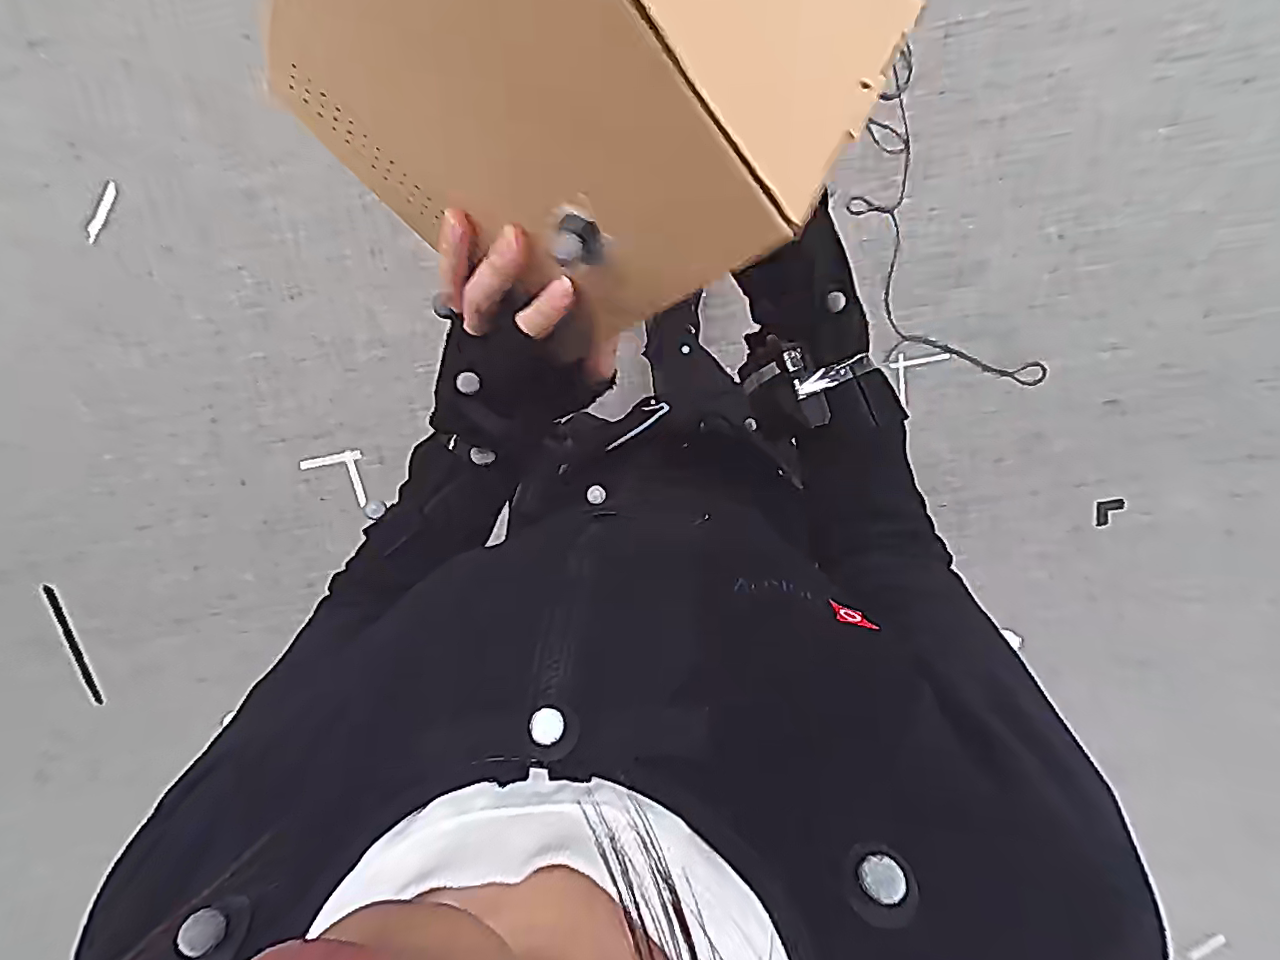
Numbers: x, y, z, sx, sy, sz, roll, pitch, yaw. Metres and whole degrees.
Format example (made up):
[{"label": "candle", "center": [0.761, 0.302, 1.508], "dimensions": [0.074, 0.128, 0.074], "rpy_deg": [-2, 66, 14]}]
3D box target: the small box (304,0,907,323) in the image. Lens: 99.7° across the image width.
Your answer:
[{"label": "small box", "center": [-0.019, -0.196, 0.250], "dimensions": [0.179, 0.176, 0.168], "rpy_deg": [43, 64, -22]}]
